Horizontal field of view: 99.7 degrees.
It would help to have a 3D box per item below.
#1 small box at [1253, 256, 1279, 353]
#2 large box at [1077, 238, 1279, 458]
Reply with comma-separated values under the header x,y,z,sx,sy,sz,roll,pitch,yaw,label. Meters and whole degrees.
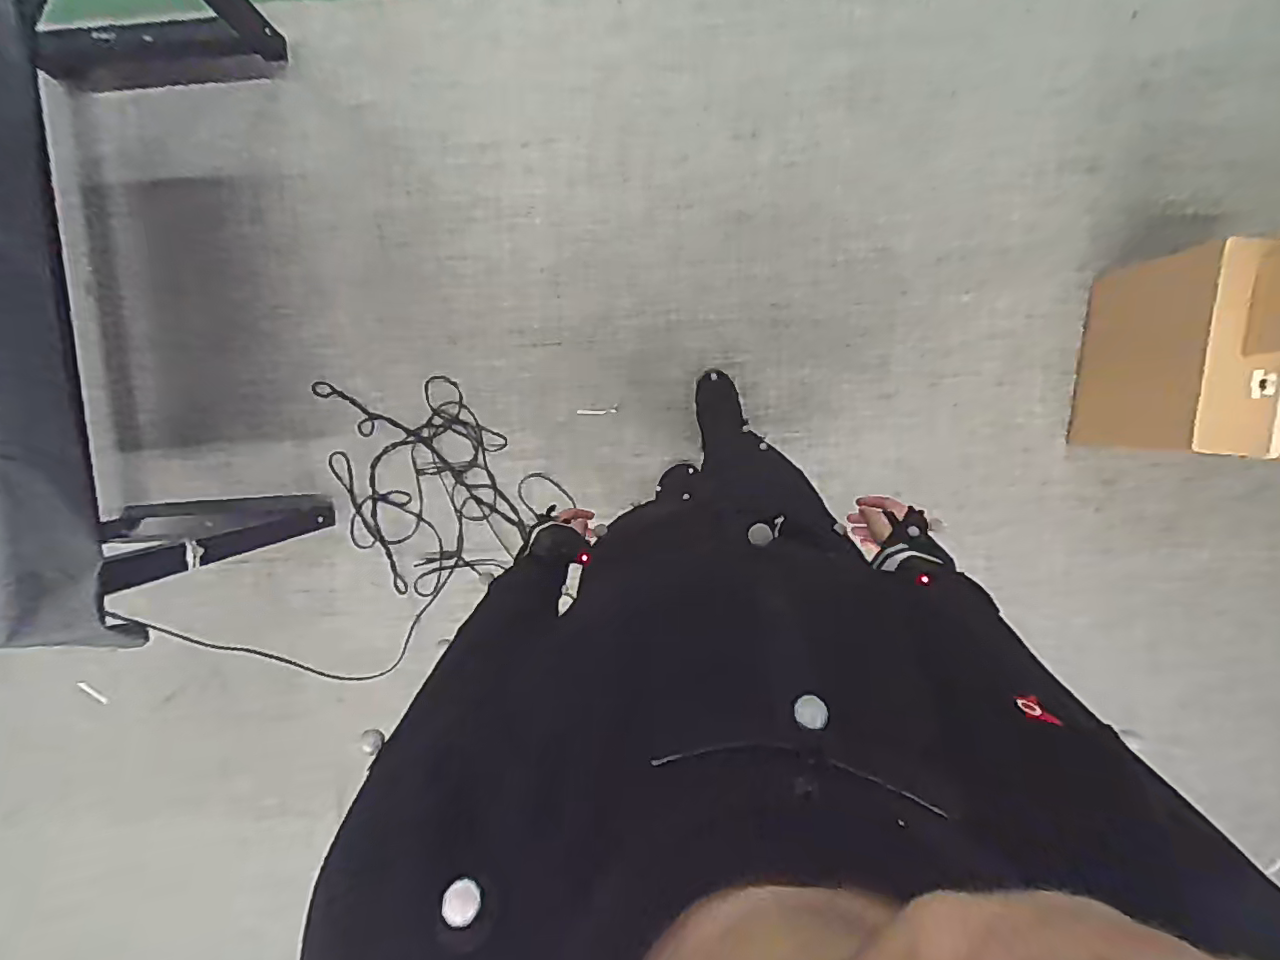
x,y,z,sx,sy,sz,roll,pitch,yaw,label
1.210,-0.306,0.910,0.168,0.176,0.179,4,95,0,small box
1.224,-0.259,1.157,0.320,0.320,0.408,3,96,2,large box
